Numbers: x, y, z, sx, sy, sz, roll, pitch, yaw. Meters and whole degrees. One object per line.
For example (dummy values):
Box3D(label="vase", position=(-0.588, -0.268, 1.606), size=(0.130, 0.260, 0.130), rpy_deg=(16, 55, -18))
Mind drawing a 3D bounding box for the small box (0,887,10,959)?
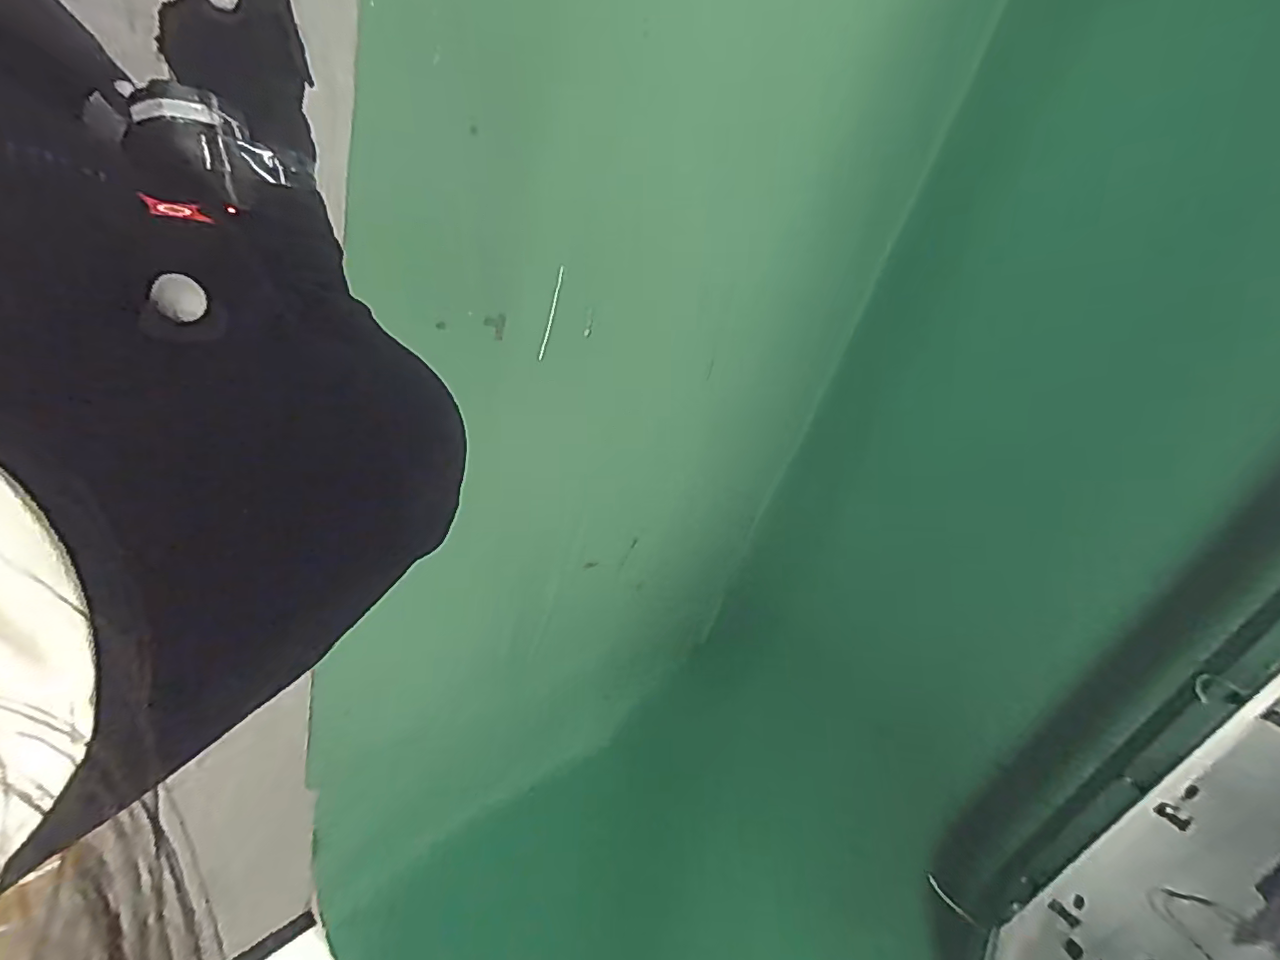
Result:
Box3D(label="small box", position=(-1.365, 0.928, 1.045), size=(0.179, 0.176, 0.168), rpy_deg=(-13, 124, -46))
